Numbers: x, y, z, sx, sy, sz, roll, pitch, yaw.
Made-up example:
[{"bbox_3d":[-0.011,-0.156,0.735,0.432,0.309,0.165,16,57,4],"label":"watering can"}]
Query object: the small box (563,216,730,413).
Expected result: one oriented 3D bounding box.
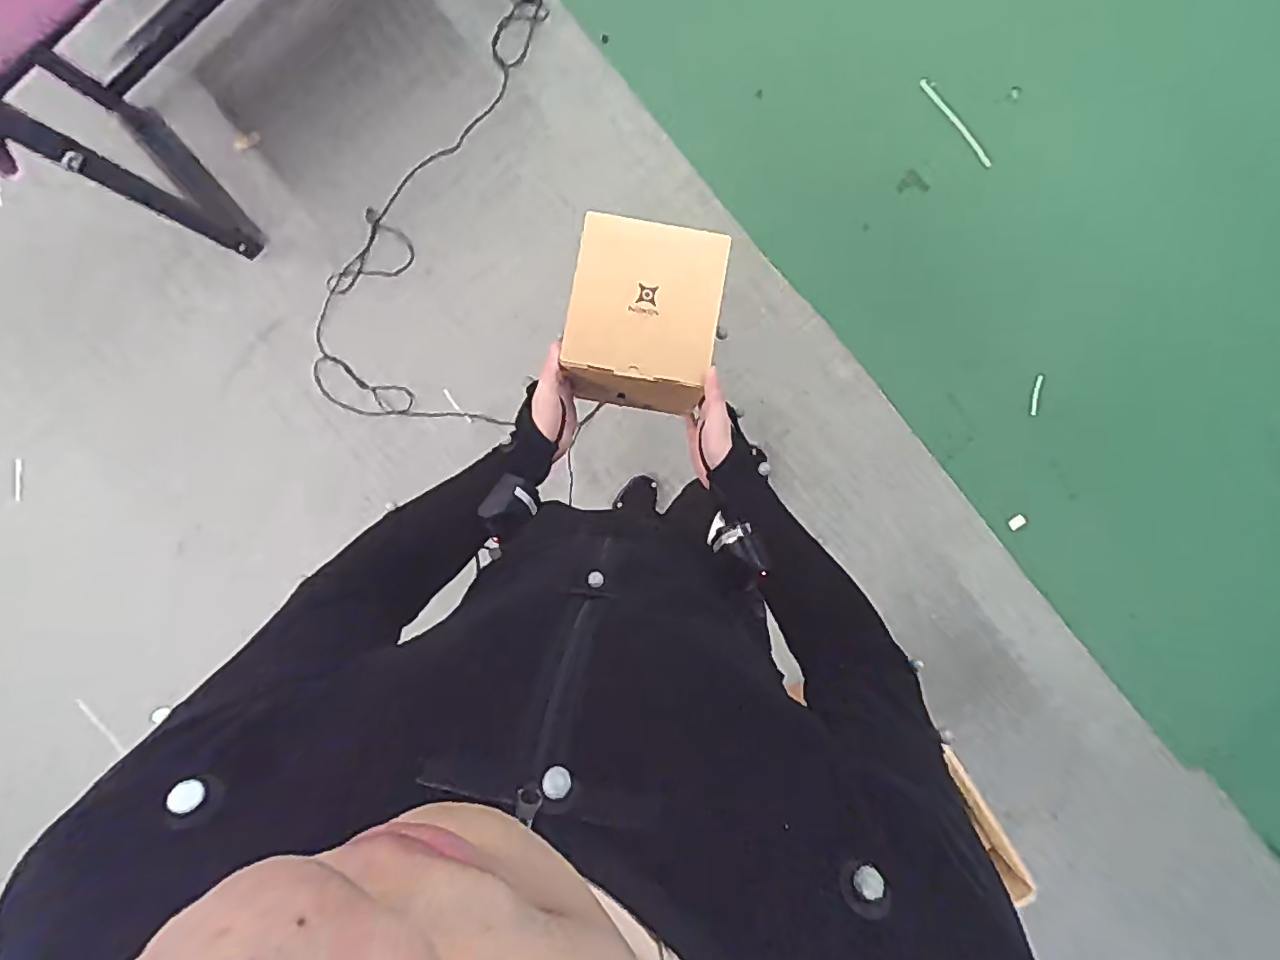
[{"bbox_3d":[0.003,-0.192,0.677,0.168,0.176,0.179,9,88,-2],"label":"small box"}]
